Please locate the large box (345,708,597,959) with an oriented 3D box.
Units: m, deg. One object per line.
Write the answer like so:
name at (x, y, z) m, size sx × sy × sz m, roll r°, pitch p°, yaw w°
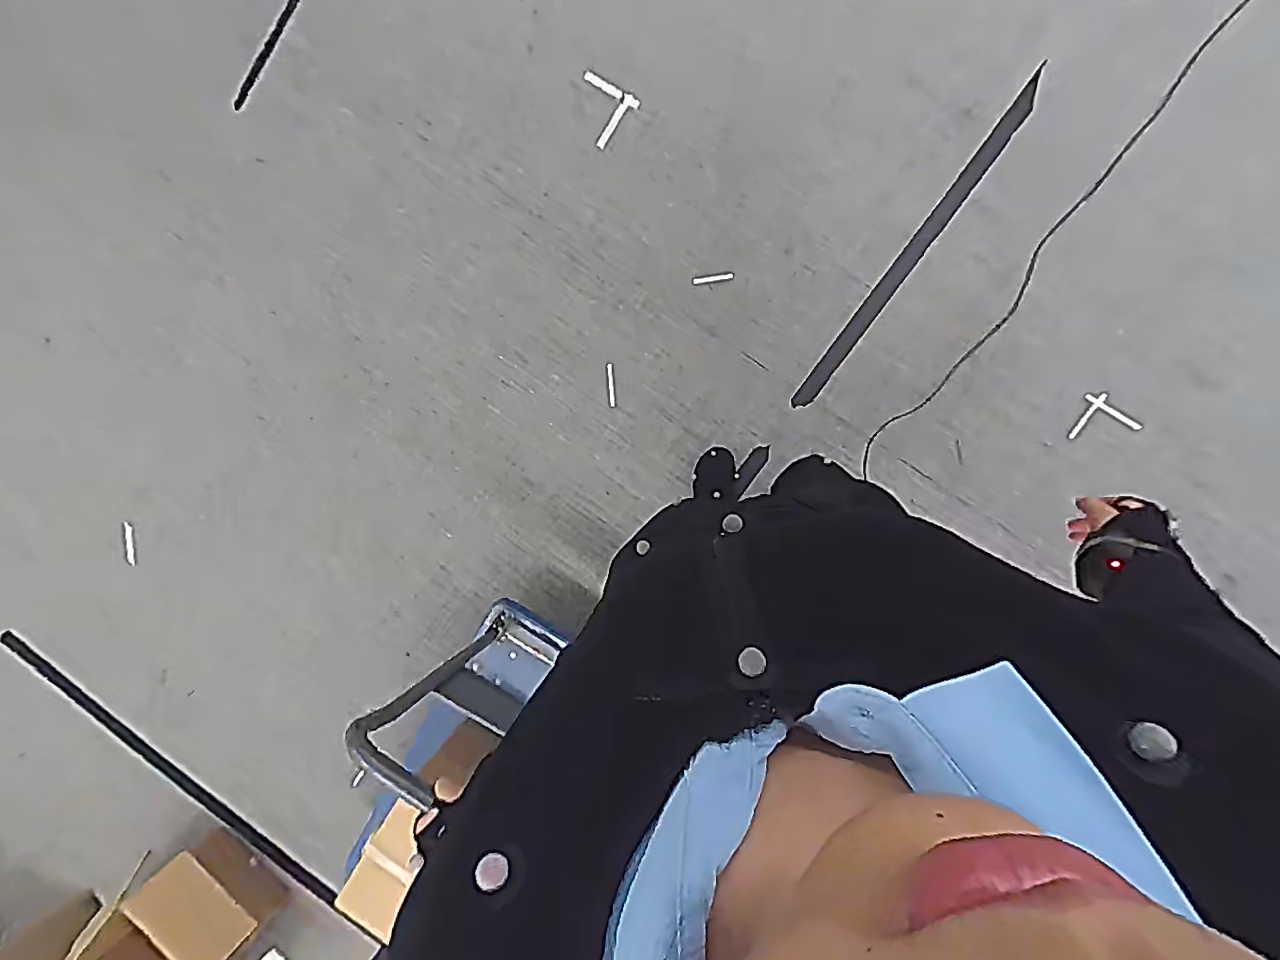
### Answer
large box at (-0.363, 0.819, 1.258) m, size 0.408 × 0.320 × 0.320 m, roll 32°, pitch 95°, yaw 3°
